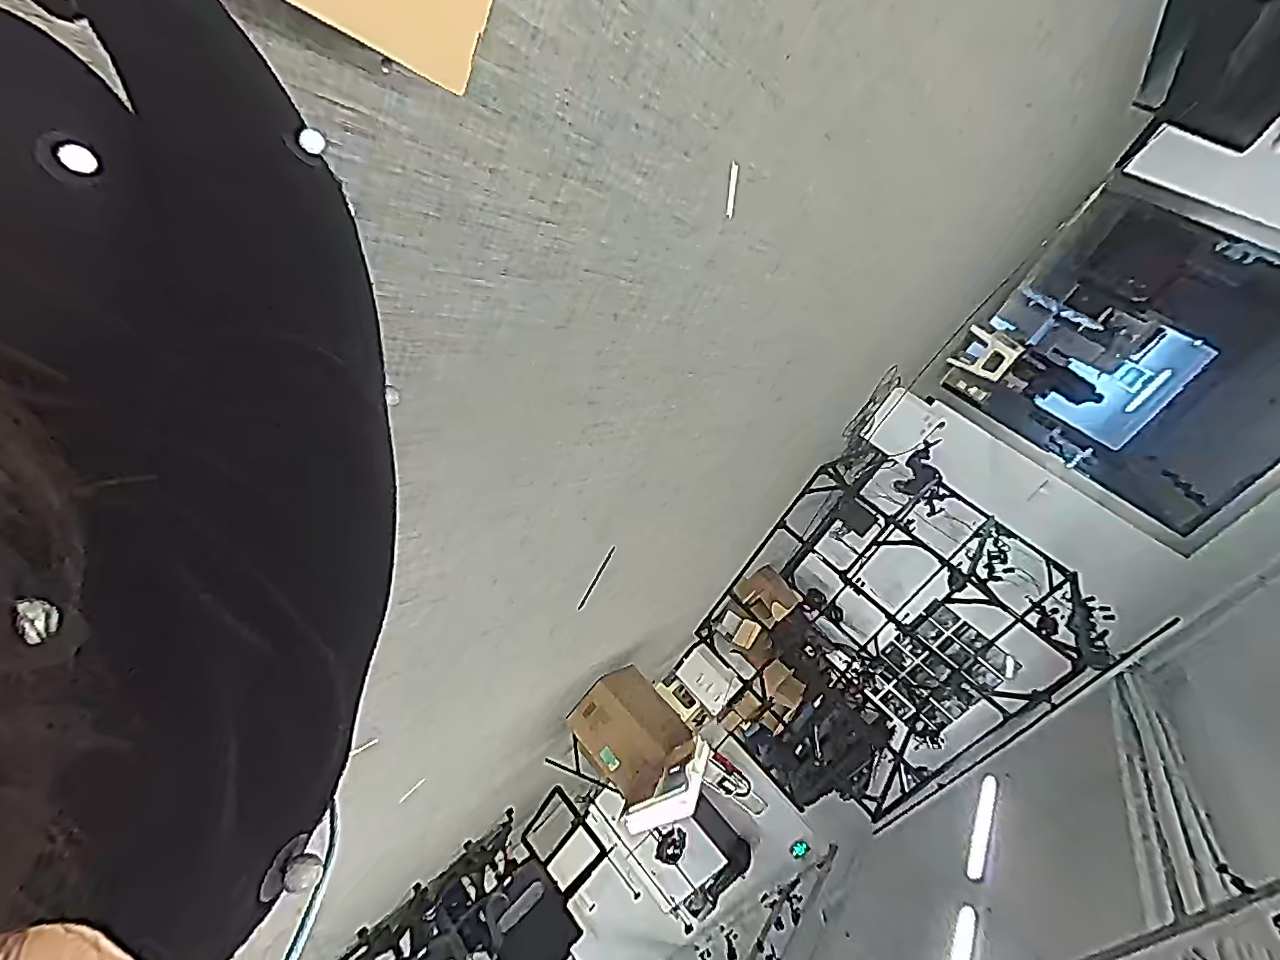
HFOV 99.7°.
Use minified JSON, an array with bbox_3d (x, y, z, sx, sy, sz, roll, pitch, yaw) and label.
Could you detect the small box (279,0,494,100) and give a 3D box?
[{"bbox_3d":[-0.249,-0.496,0.488,0.179,0.176,0.168,-10,137,-55],"label":"small box"}]
